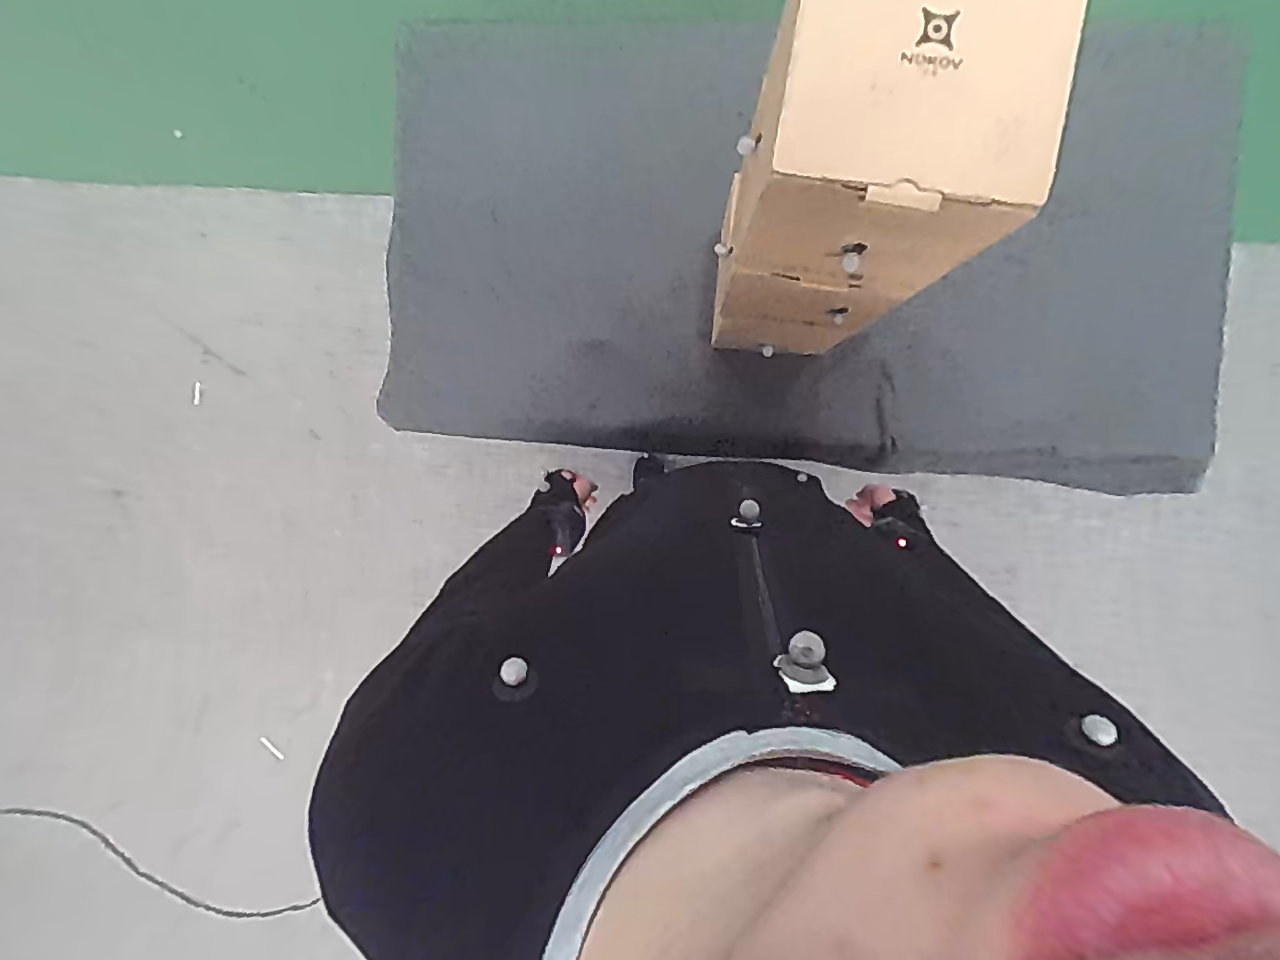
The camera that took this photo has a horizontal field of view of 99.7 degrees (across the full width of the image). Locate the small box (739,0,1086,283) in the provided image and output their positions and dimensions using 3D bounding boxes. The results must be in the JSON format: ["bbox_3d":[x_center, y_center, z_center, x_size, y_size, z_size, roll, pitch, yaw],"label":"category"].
[{"bbox_3d":[0.173,-0.261,0.397,0.168,0.176,0.179,10,95,2],"label":"small box"}]

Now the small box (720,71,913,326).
[{"bbox_3d":[0.180,-0.270,0.560,0.168,0.176,0.179,8,93,2],"label":"small box"}]

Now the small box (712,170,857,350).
[{"bbox_3d":[0.189,-0.282,0.721,0.168,0.176,0.179,5,94,3],"label":"small box"}]
